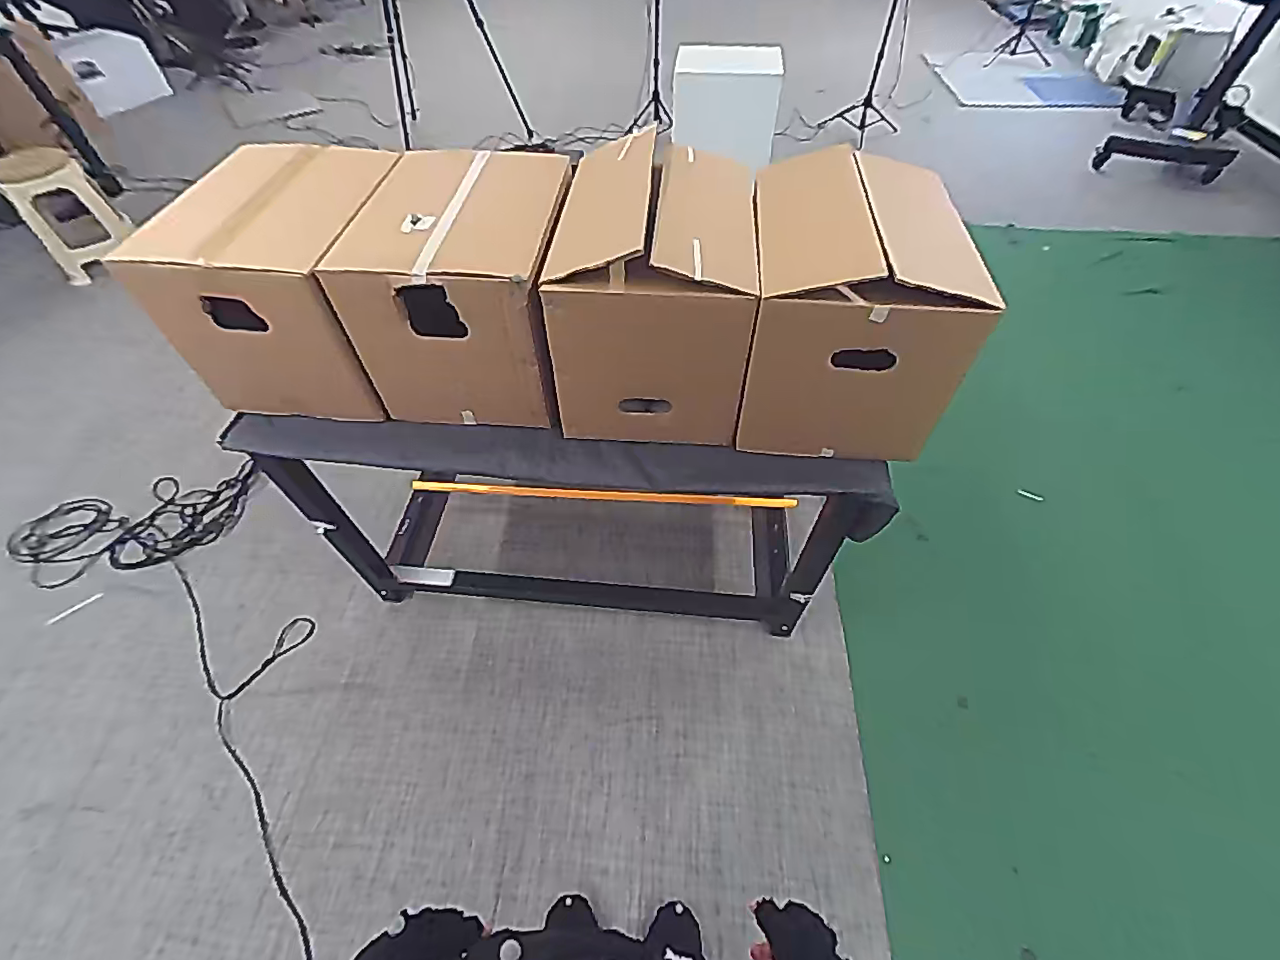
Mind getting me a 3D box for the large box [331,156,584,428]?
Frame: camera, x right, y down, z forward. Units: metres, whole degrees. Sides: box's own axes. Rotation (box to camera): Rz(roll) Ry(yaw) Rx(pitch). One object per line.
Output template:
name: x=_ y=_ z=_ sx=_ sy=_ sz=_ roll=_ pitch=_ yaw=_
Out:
large box: x=-0.287 y=-0.351 z=1.013 sx=0.320 sy=0.320 sz=0.408 roll=3 pitch=54 yaw=4
